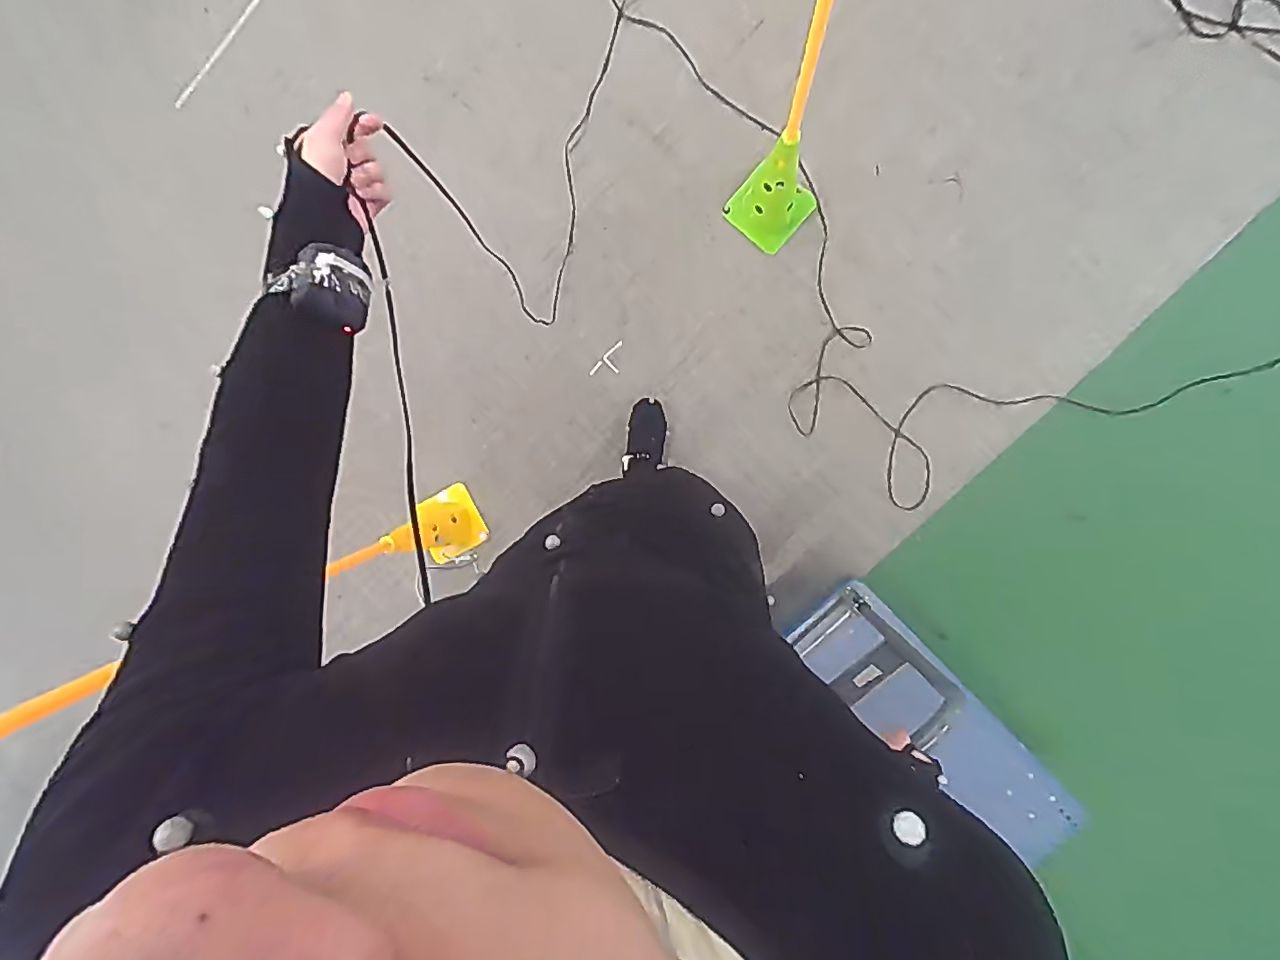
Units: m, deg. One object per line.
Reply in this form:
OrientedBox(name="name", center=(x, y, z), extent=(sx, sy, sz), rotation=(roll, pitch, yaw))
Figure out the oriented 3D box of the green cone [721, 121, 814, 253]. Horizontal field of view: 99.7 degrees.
OrientedBox(name="green cone", center=(0.344, -0.760, 1.346), extent=(0.200, 0.368, 0.202), rotation=(41, 95, 1))
